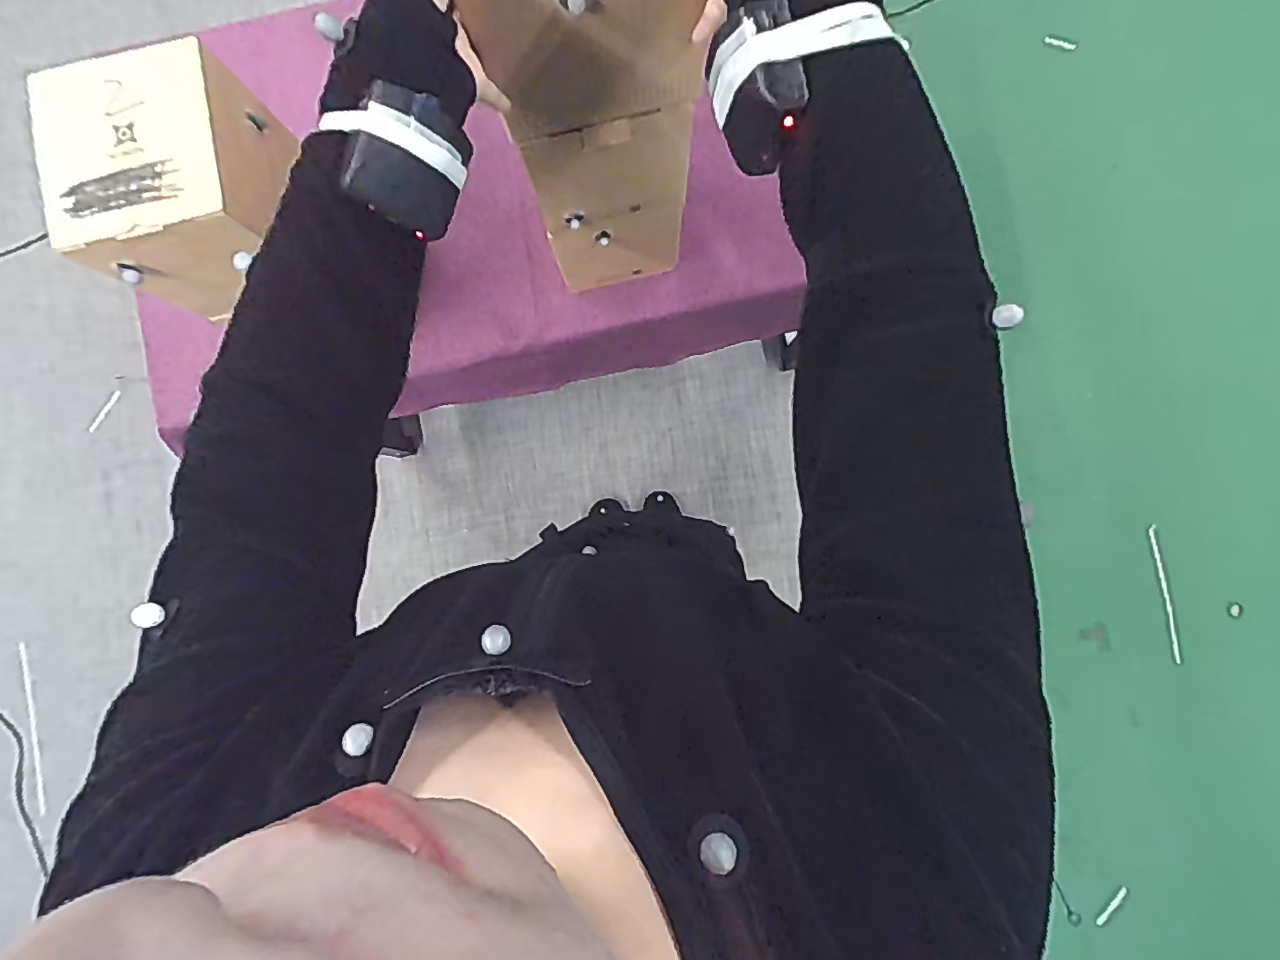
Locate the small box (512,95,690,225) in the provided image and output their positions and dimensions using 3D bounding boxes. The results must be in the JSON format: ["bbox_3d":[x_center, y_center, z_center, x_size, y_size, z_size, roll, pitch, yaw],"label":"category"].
[{"bbox_3d":[-0.046,-0.396,0.569,0.168,0.176,0.179,-13,86,1],"label":"small box"}]

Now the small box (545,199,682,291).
[{"bbox_3d":[-0.042,-0.386,0.733,0.168,0.176,0.179,-12,86,2],"label":"small box"}]

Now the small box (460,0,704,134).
[{"bbox_3d":[-0.049,-0.399,0.405,0.179,0.176,0.168,-12,88,1],"label":"small box"}]
